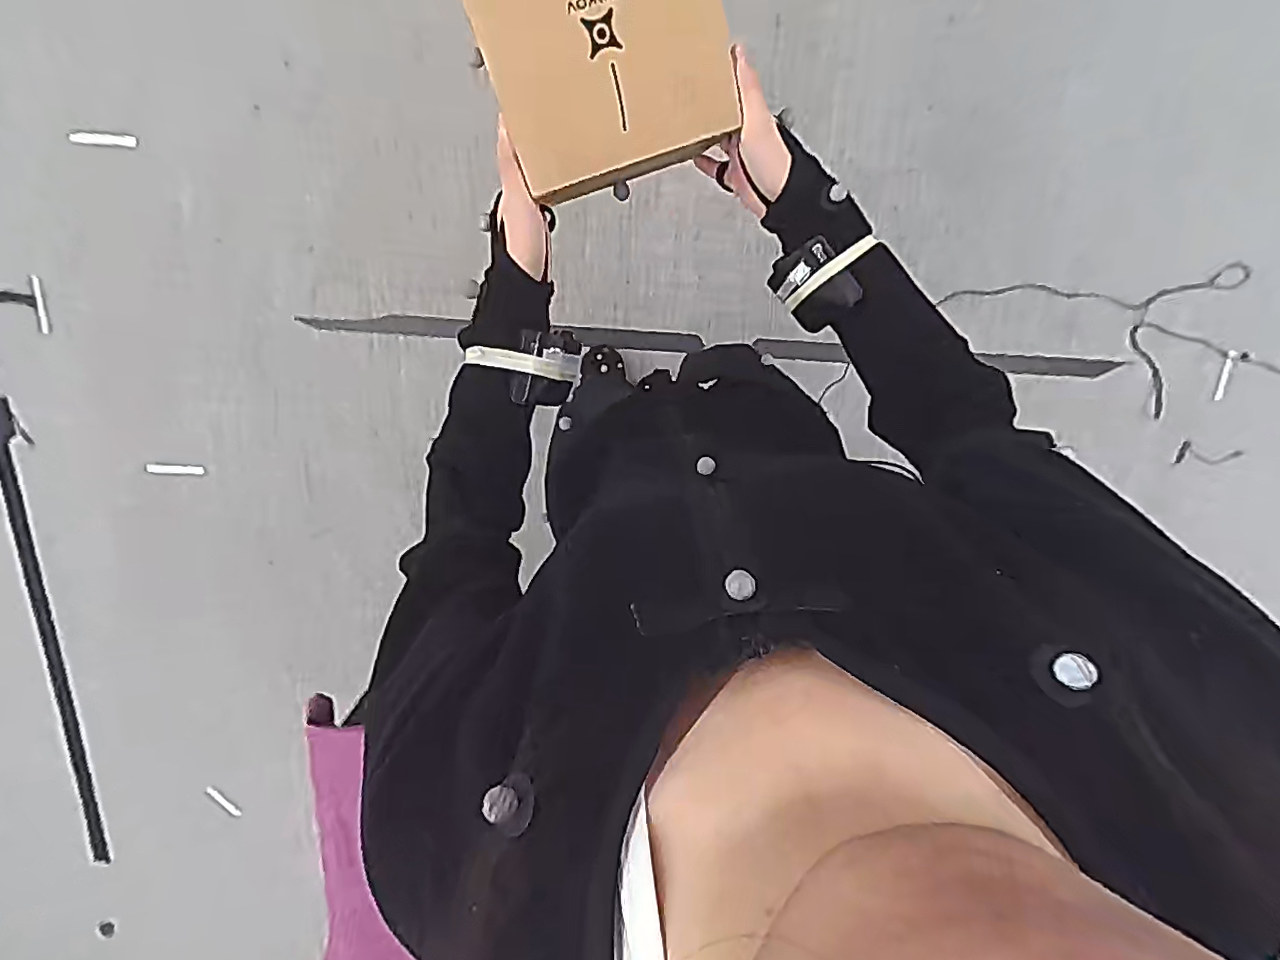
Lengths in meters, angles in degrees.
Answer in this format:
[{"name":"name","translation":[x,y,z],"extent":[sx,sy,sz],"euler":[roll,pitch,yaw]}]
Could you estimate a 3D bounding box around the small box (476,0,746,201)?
[{"name":"small box","translation":[-0.031,-0.341,0.429],"extent":[0.168,0.176,0.179],"euler":[-17,115,1]}]
